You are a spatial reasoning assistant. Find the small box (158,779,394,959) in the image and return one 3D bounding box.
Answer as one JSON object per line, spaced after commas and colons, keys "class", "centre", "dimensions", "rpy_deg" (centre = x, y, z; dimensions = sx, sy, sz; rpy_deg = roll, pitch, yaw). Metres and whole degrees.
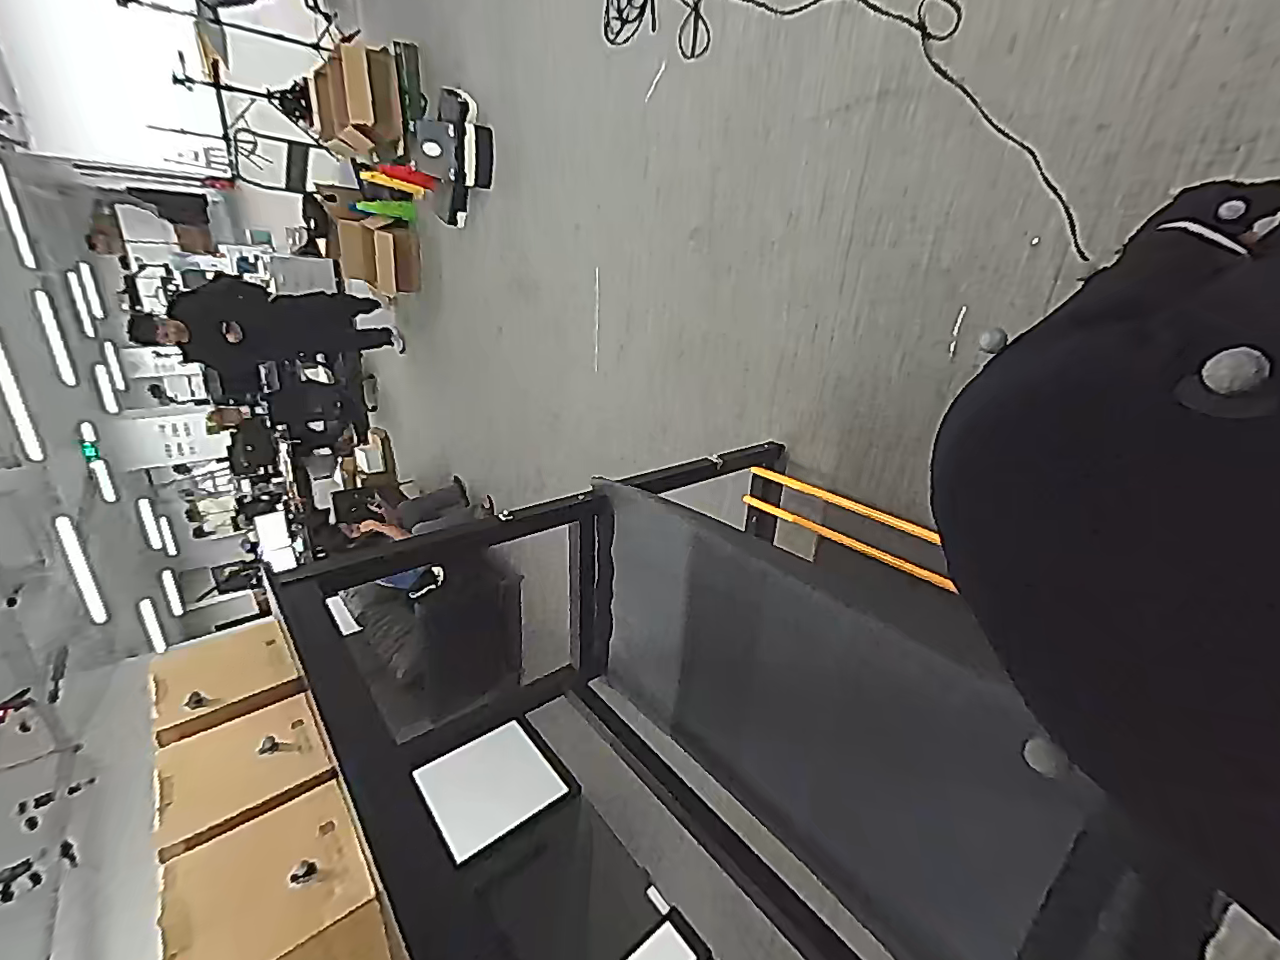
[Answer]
{"class": "small box", "centre": [-0.370, 0.466, 0.563], "dimensions": [0.168, 0.176, 0.179], "rpy_deg": [26, 120, 45]}
